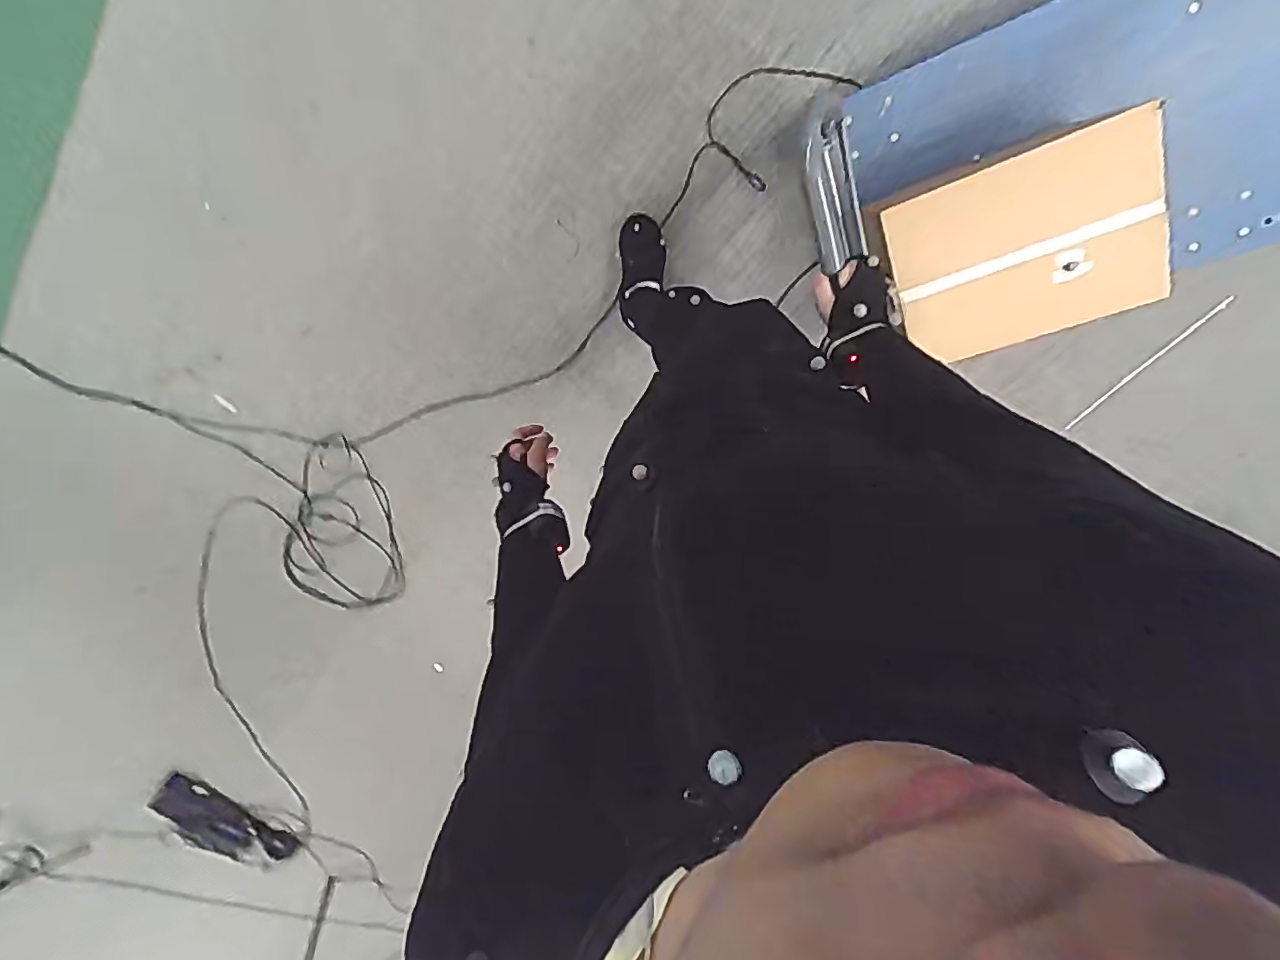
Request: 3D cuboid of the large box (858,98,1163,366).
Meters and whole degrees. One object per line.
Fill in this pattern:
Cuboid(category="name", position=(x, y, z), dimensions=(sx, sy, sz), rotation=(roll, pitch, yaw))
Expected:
Cuboid(category="large box", position=(0.698, -0.470, 1.081), dimensions=(0.408, 0.320, 0.320), rotation=(-16, 112, 21))
